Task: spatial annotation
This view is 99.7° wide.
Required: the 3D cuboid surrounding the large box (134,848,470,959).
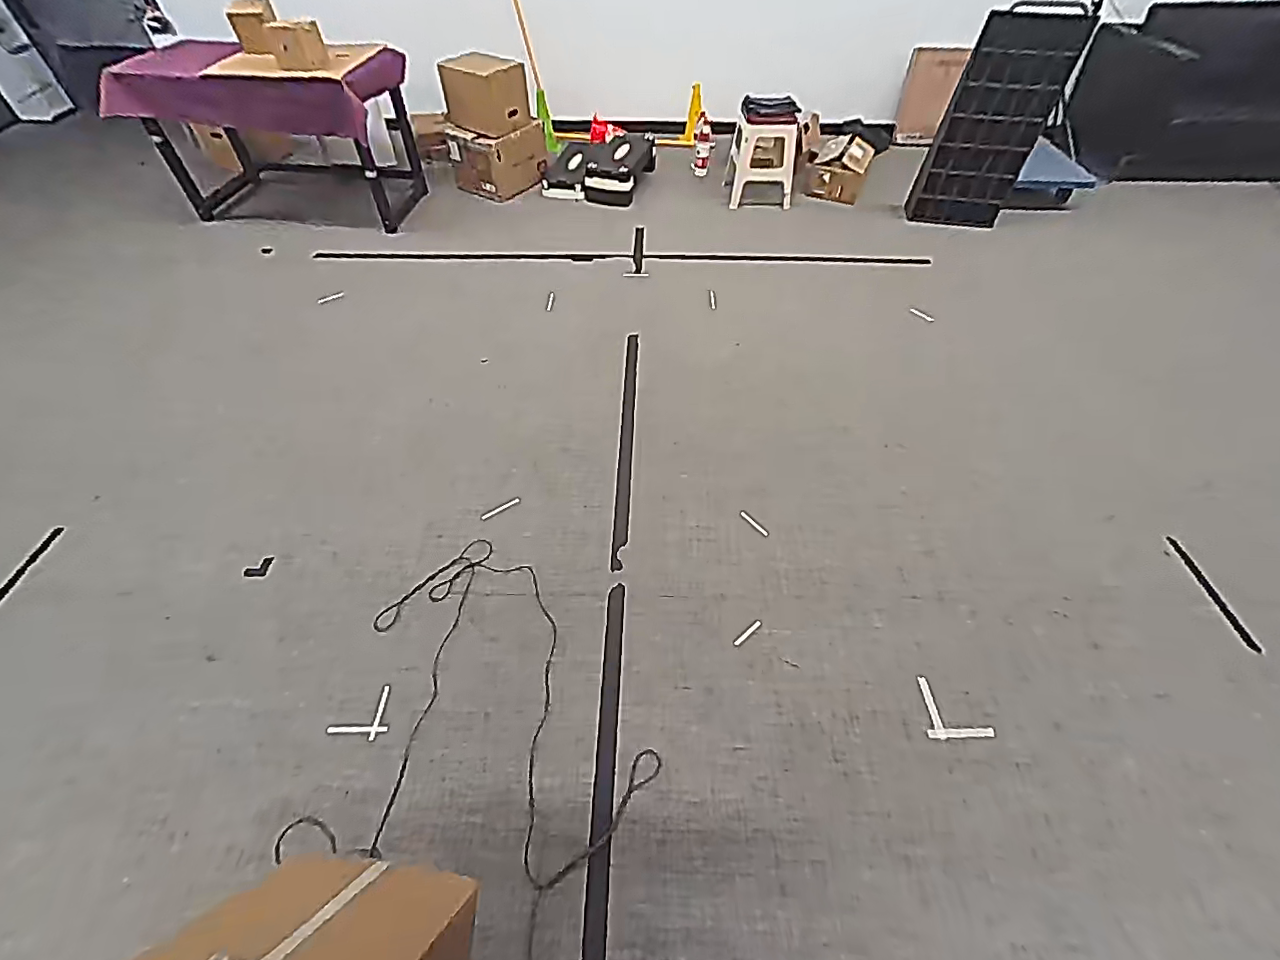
[{"bbox_3d":[-0.452,0.733,0.654,0.320,0.408,0.320,3,81,9],"label":"large box"}]
